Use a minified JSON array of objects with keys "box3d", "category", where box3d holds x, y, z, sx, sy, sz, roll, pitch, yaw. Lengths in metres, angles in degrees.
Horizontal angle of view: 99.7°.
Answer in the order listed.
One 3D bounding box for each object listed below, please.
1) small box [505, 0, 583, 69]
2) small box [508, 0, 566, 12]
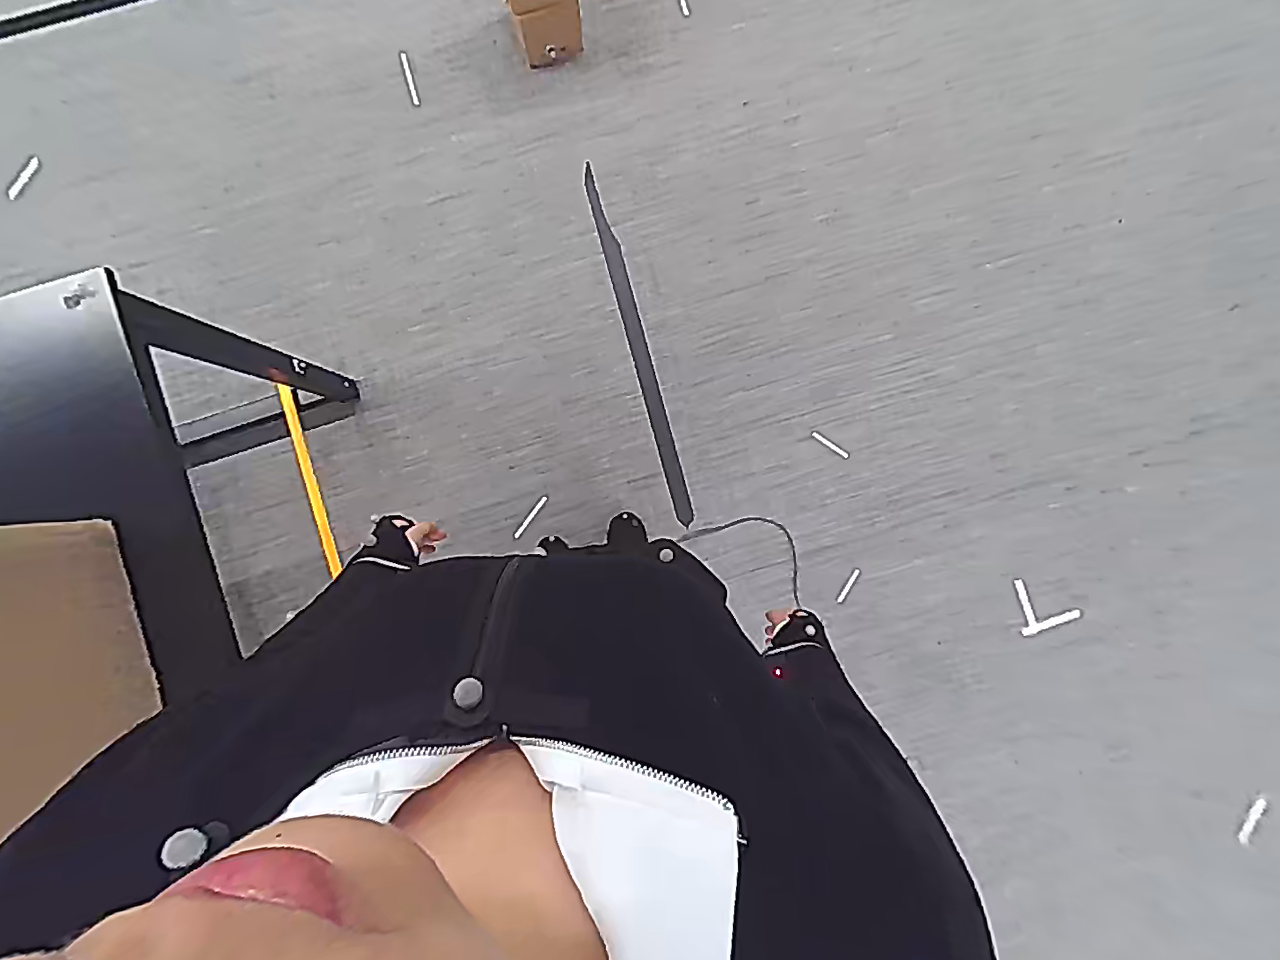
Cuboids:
[{"box3d":[-0.261,-1.256,1.435,0.168,0.176,0.179,-22,91,-1],"category":"small box"},{"box3d":[-0.257,-1.260,1.270,0.179,0.176,0.168,-17,90,-2],"category":"small box"}]
